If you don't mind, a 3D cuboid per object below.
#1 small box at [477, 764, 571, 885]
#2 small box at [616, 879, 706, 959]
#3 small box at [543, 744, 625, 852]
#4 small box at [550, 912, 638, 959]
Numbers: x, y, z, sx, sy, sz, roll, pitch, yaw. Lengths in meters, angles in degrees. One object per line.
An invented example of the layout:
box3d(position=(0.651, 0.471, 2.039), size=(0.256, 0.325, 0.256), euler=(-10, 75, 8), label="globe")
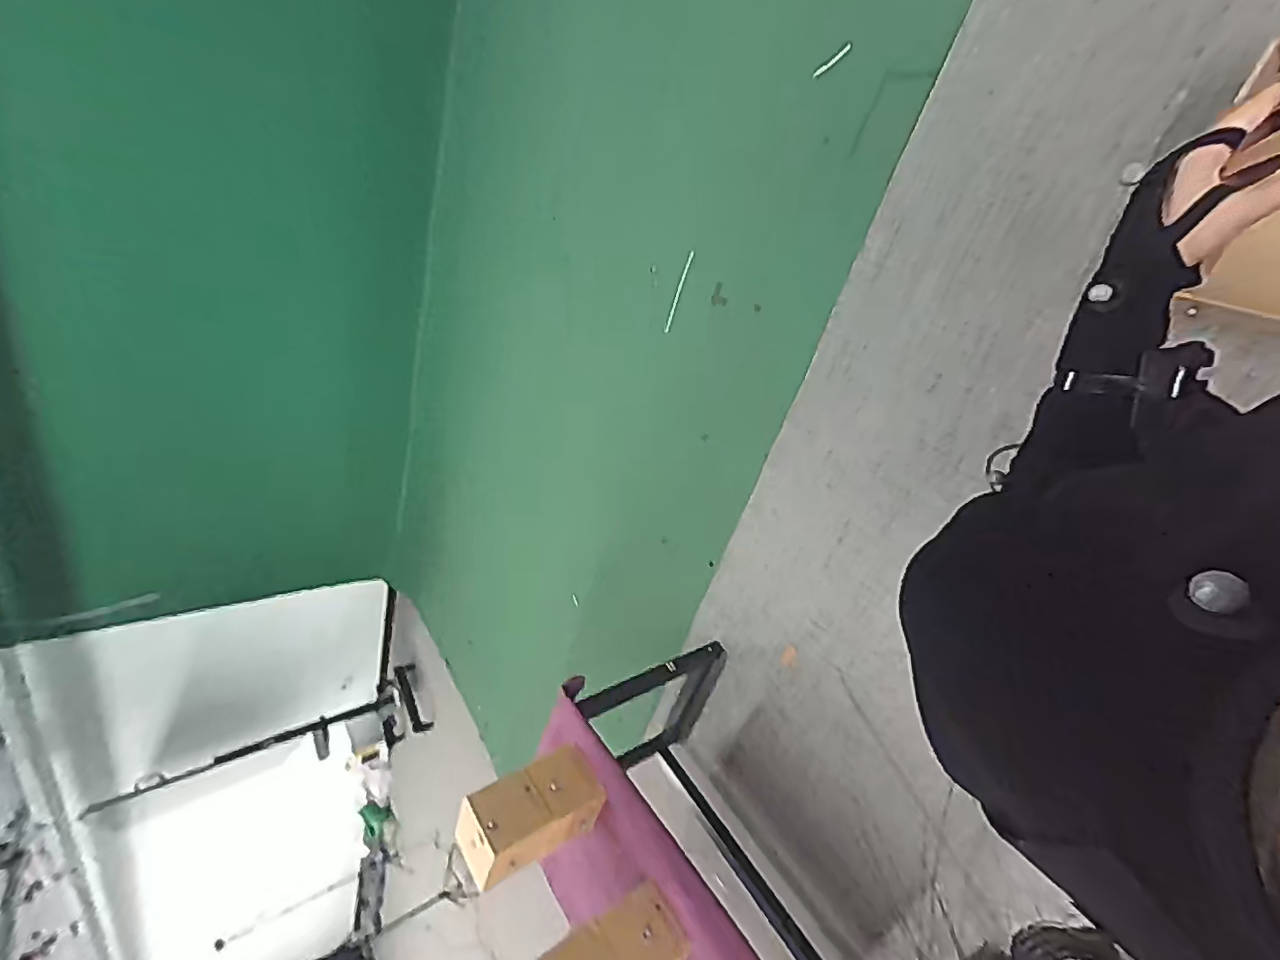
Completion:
box3d(position=(-0.299, 0.883, 1.398), size=(0.168, 0.176, 0.179), euler=(40, 124, 37), label="small box")
box3d(position=(0.032, 1.105, 1.285), size=(0.168, 0.176, 0.179), euler=(43, 127, 39), label="small box")
box3d(position=(-0.172, 0.868, 1.501), size=(0.179, 0.176, 0.168), euler=(40, 123, 38), label="small box")
box3d(position=(-0.095, 1.112, 1.183), size=(0.179, 0.176, 0.168), euler=(42, 125, 39), label="small box")
